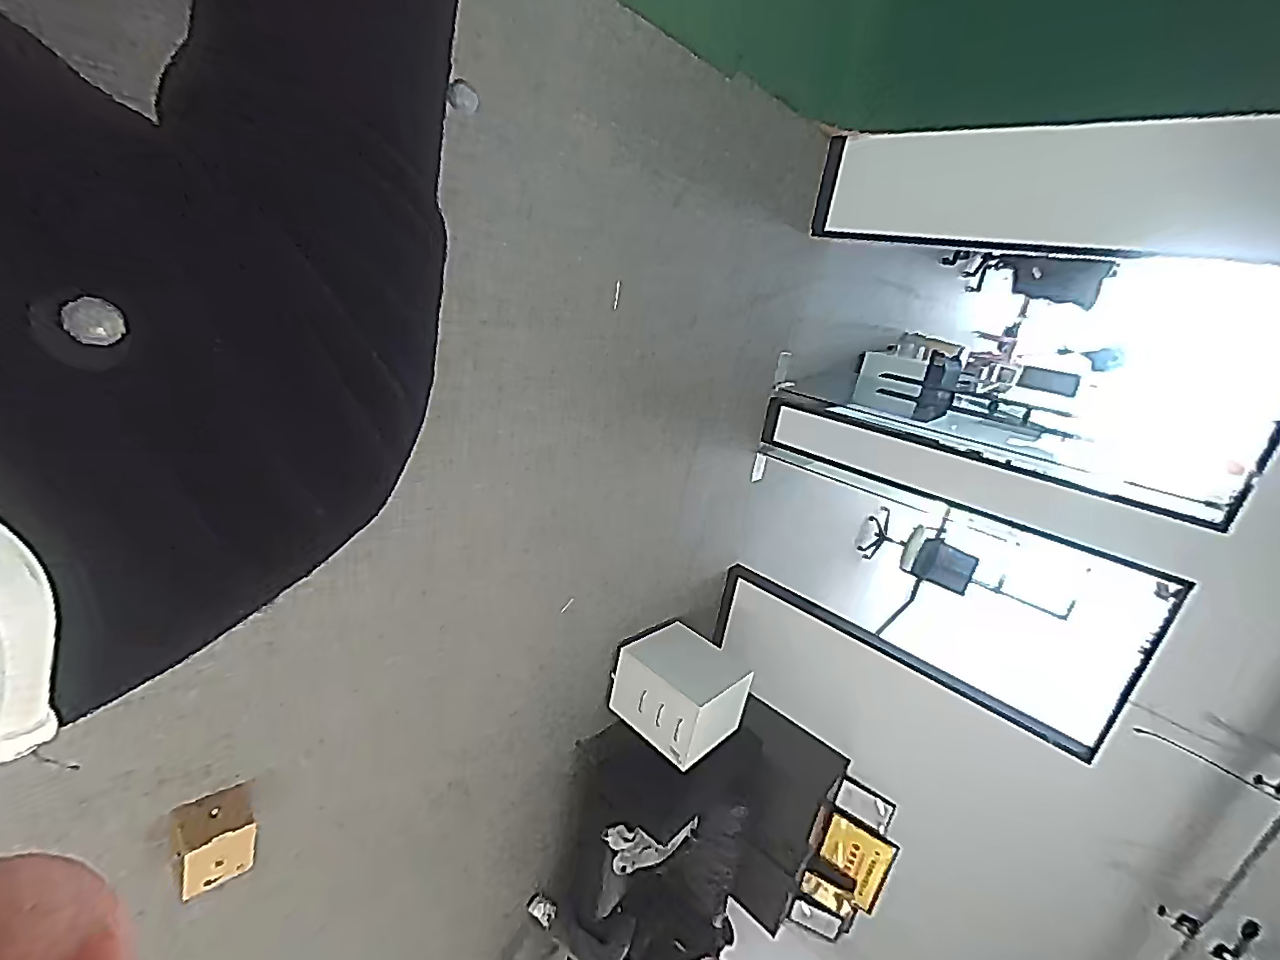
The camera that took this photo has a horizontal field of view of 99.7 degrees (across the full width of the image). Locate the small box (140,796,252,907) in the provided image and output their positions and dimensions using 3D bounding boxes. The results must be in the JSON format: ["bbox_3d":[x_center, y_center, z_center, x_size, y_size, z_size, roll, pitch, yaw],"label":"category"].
[{"bbox_3d":[-1.273,1.059,1.553,0.179,0.176,0.168,-38,138,-34],"label":"small box"}]
